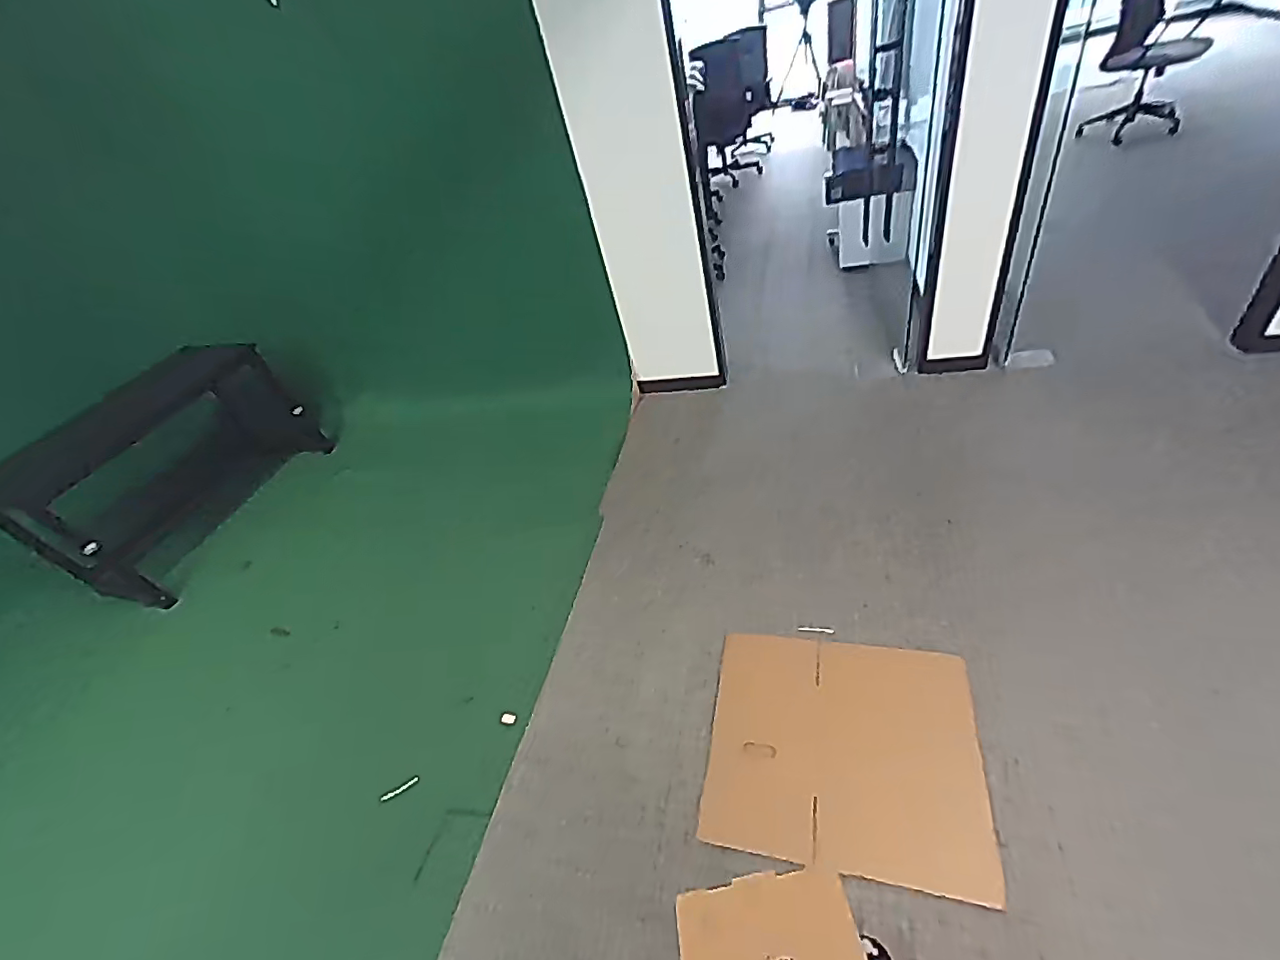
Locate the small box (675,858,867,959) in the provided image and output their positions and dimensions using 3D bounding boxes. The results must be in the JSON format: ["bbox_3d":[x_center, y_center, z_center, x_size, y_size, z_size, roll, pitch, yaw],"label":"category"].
[{"bbox_3d":[0.135,0.502,0.502,0.168,0.176,0.179,-14,27,4],"label":"small box"}]
